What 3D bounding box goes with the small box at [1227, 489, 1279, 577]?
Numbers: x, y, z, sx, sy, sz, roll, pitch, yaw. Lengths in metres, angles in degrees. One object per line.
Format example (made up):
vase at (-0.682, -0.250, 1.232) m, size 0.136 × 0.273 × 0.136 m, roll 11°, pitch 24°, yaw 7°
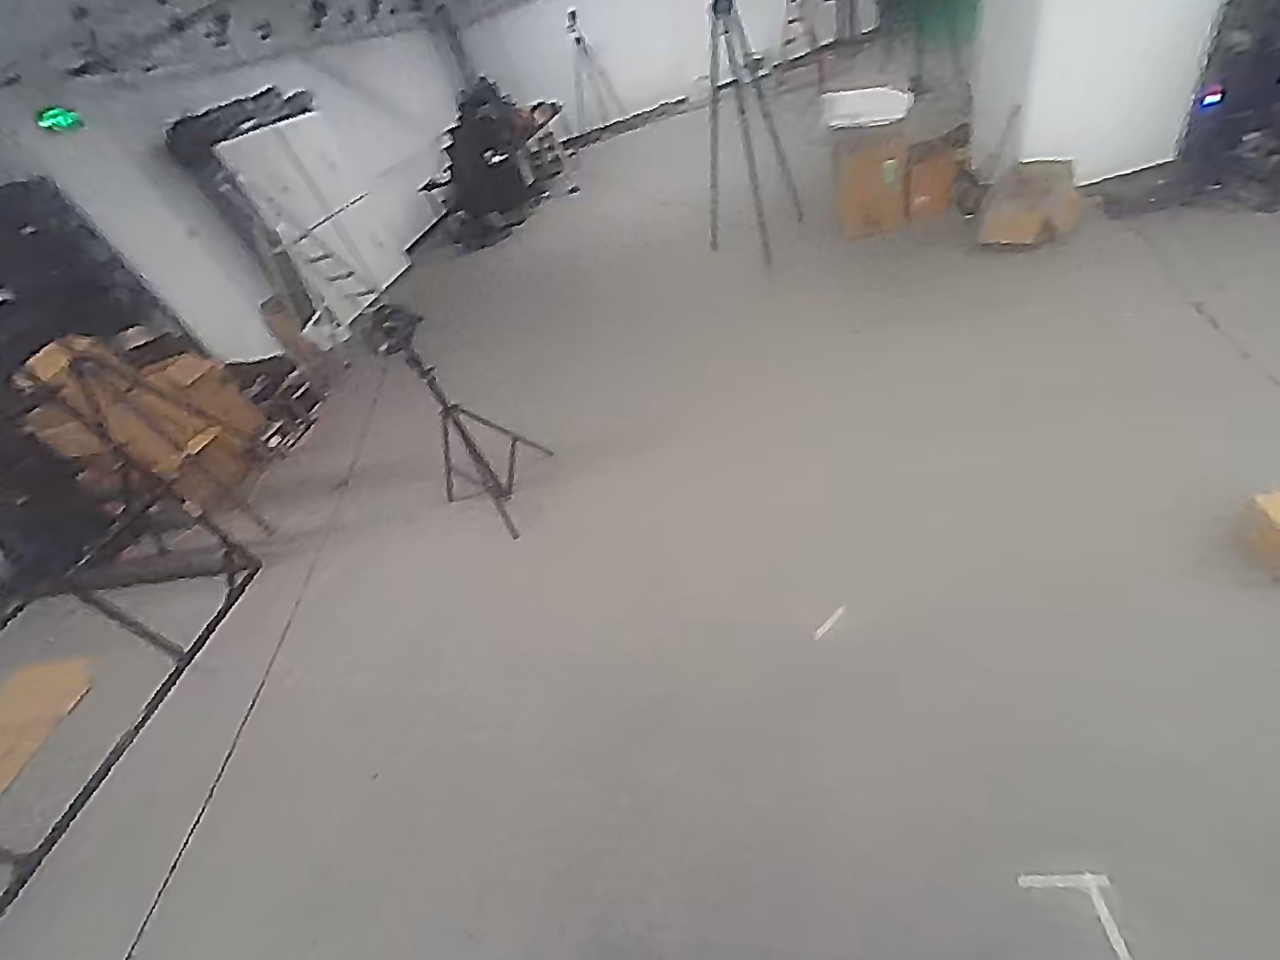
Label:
small box at (1.777, 0.141, 1.473) m, size 0.168 × 0.176 × 0.179 m, roll -10°, pitch 41°, yaw 17°
